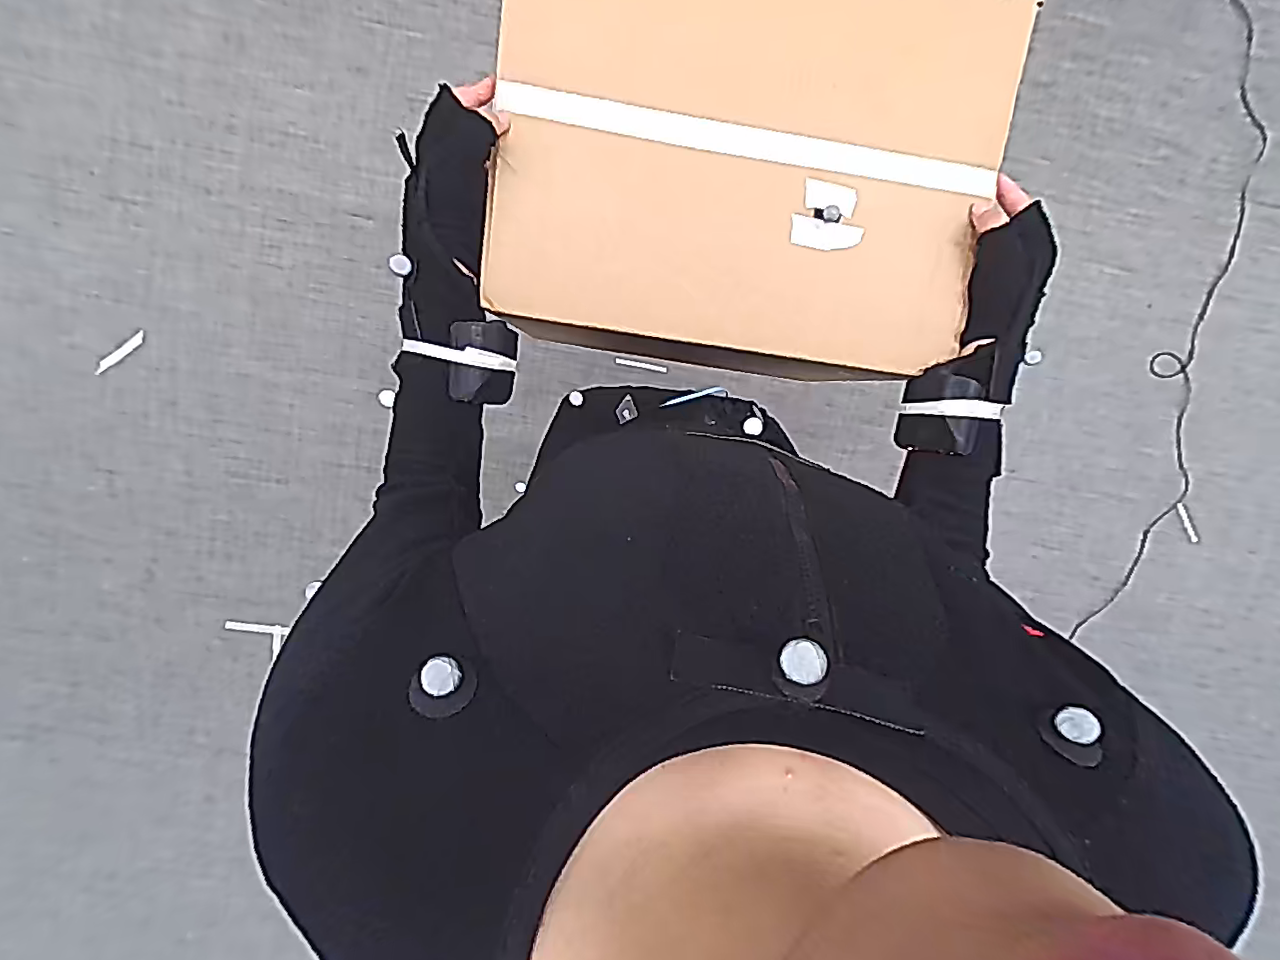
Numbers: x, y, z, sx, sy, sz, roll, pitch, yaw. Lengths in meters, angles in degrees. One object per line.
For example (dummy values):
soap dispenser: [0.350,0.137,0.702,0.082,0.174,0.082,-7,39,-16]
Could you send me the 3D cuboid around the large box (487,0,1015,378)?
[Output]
large box: [0.074,-0.290,0.584,0.408,0.320,0.320,7,101,-6]
